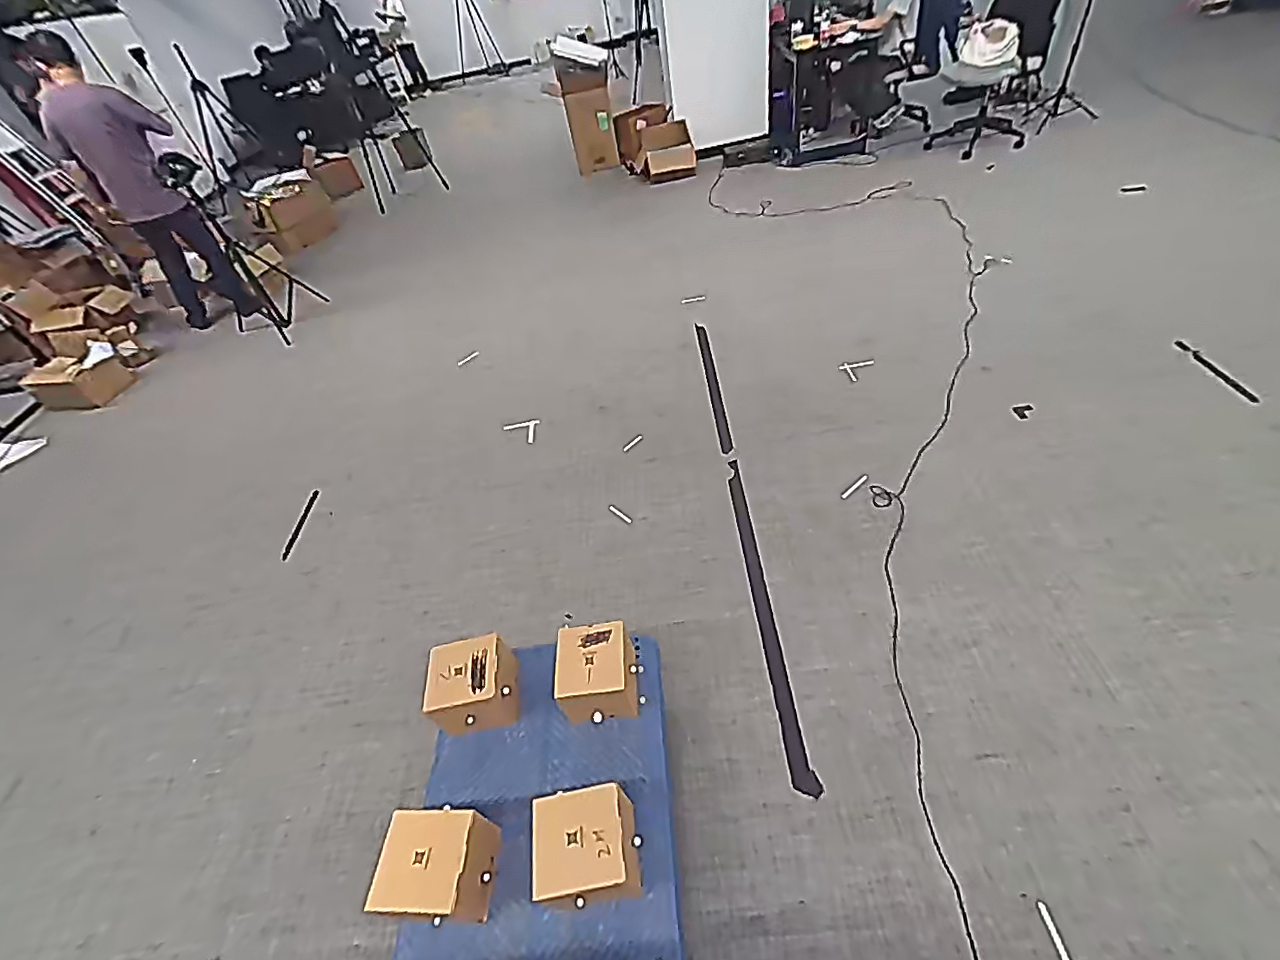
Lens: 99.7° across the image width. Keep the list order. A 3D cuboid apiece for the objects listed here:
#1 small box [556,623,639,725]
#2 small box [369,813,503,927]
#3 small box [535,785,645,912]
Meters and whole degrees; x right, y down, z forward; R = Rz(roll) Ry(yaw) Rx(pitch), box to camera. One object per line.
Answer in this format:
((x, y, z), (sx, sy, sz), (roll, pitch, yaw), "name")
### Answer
((-0.099, 0.476, 1.325), (0.168, 0.176, 0.179), (-9, 46, 5), "small box")
((-0.401, 0.790, 1.094), (0.179, 0.176, 0.168), (-5, 45, 7), "small box")
((-0.099, 0.734, 1.073), (0.179, 0.176, 0.168), (-13, 45, 1), "small box")
